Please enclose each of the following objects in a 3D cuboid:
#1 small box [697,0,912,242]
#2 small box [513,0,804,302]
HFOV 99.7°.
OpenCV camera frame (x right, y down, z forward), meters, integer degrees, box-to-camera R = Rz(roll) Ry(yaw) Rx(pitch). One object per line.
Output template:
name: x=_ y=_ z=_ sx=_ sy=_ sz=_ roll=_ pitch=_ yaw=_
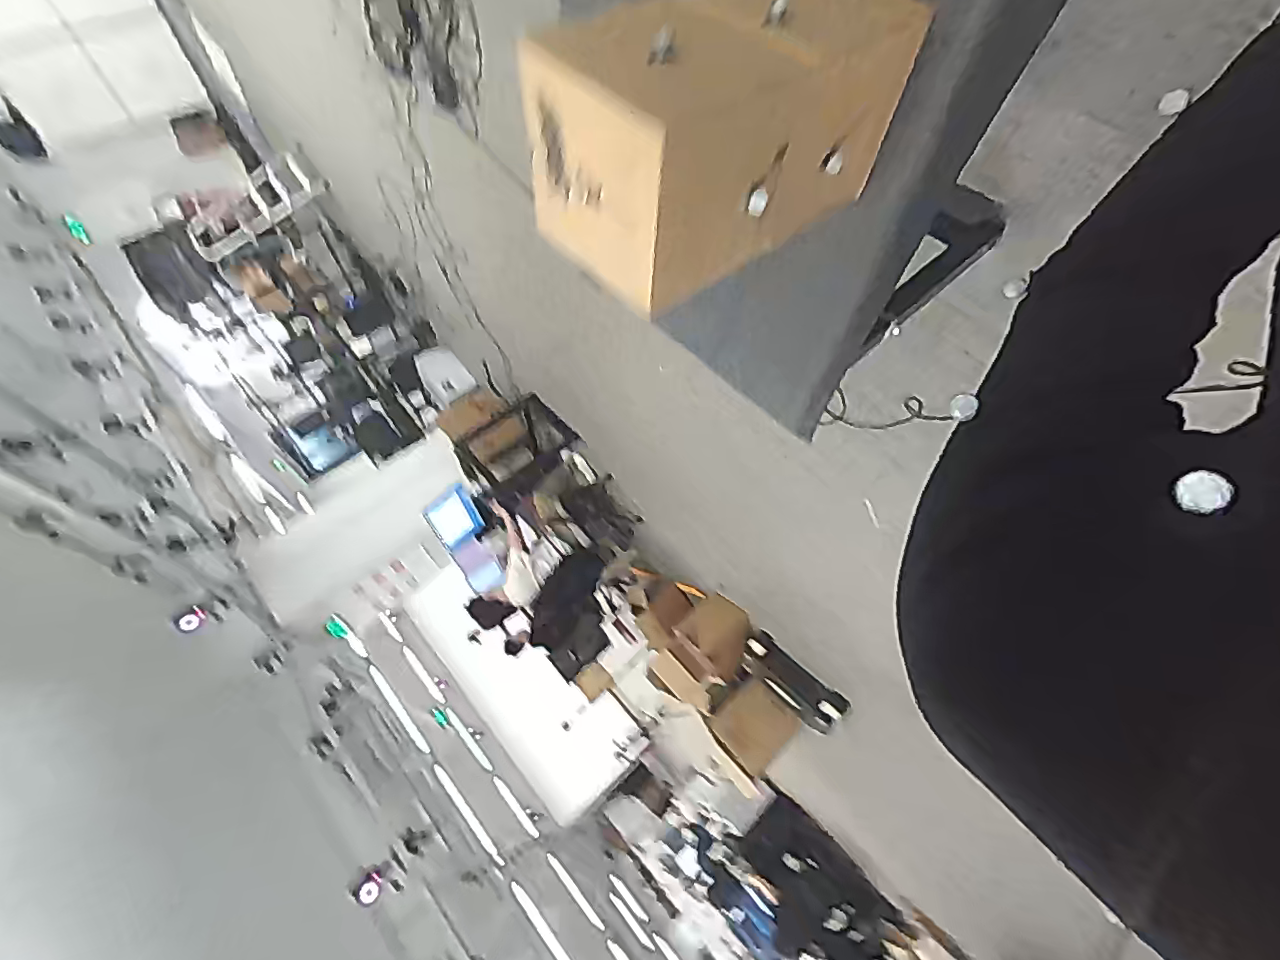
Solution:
small box: x=0.137 y=-0.390 z=0.554 sx=0.168 sy=0.176 sz=0.179 roll=45 pitch=157 yaw=20
small box: x=0.011 y=-0.304 z=0.492 sx=0.179 sy=0.176 sz=0.168 roll=45 pitch=156 yaw=20
